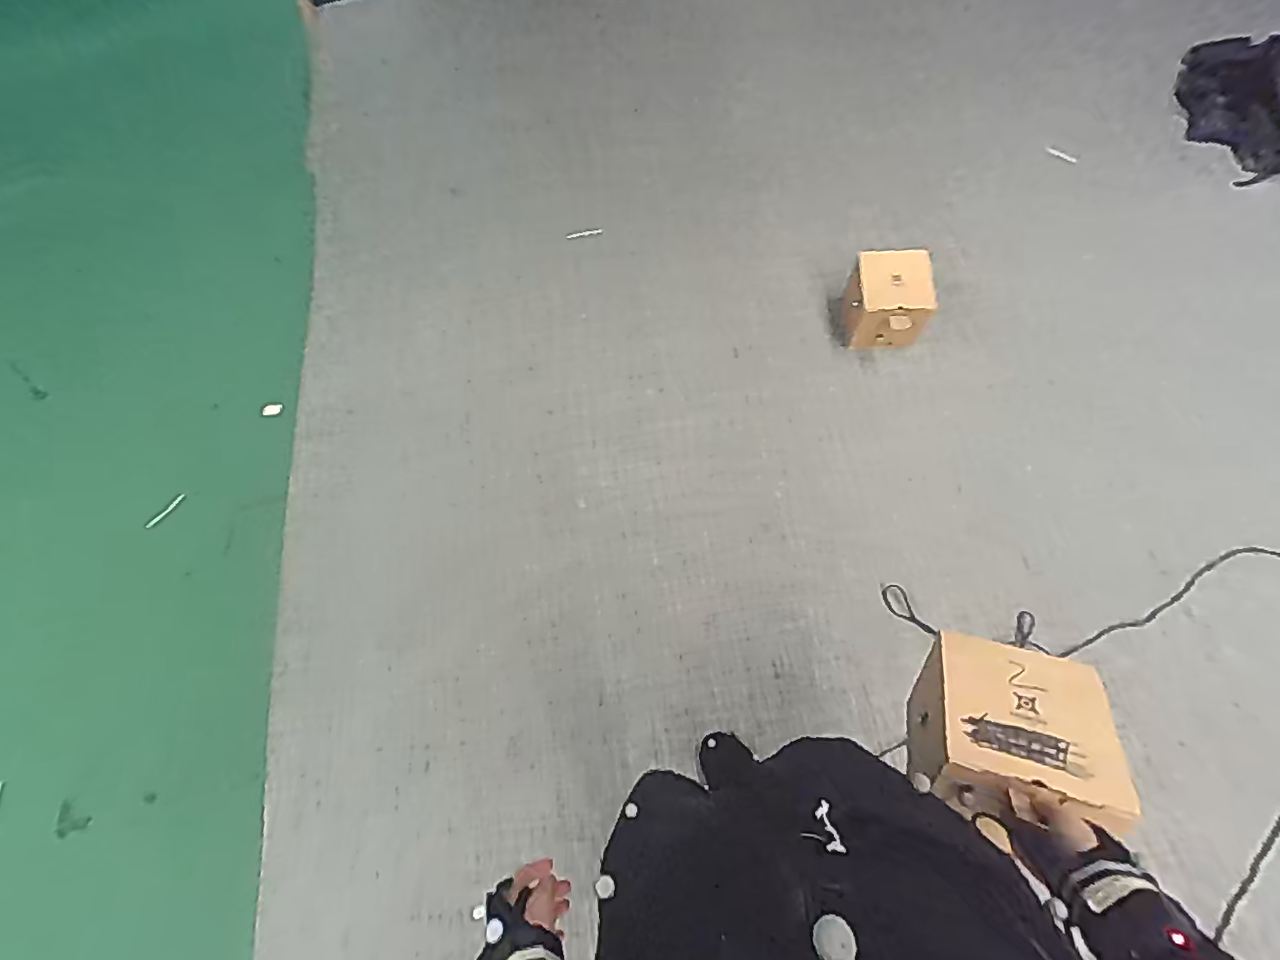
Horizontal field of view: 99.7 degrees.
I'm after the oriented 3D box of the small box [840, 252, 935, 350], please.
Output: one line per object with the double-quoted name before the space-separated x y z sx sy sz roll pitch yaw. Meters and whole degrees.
"small box" 0.617 -0.451 1.371 0.168 0.176 0.179 1 71 5
